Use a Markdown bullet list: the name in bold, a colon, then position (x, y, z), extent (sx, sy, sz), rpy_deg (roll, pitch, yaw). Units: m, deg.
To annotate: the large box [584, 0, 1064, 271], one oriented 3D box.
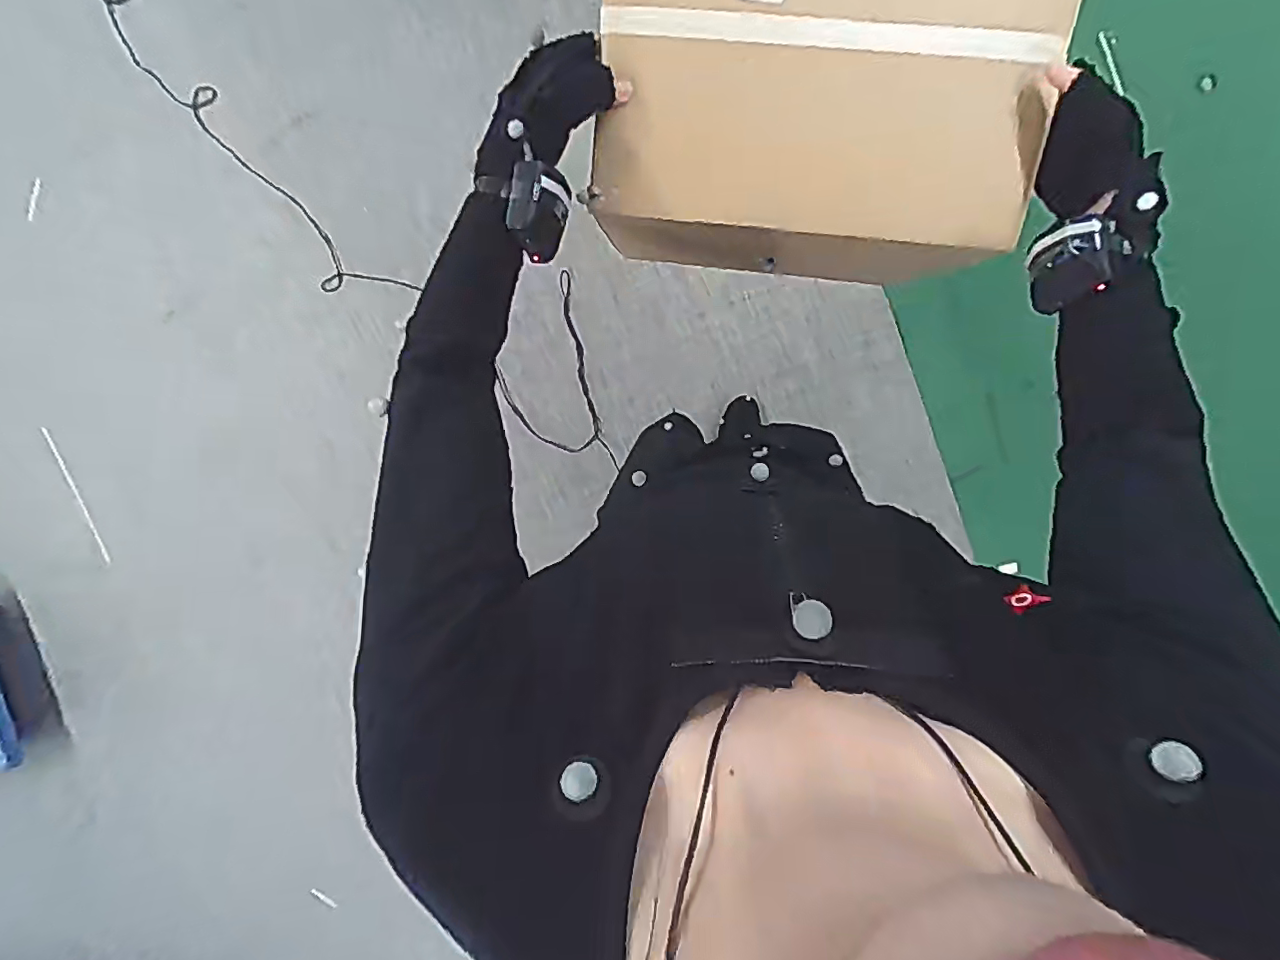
- **large box**: position (0.170, -0.427, 0.617), extent (0.408, 0.320, 0.320), rpy_deg (7, 105, 4)
